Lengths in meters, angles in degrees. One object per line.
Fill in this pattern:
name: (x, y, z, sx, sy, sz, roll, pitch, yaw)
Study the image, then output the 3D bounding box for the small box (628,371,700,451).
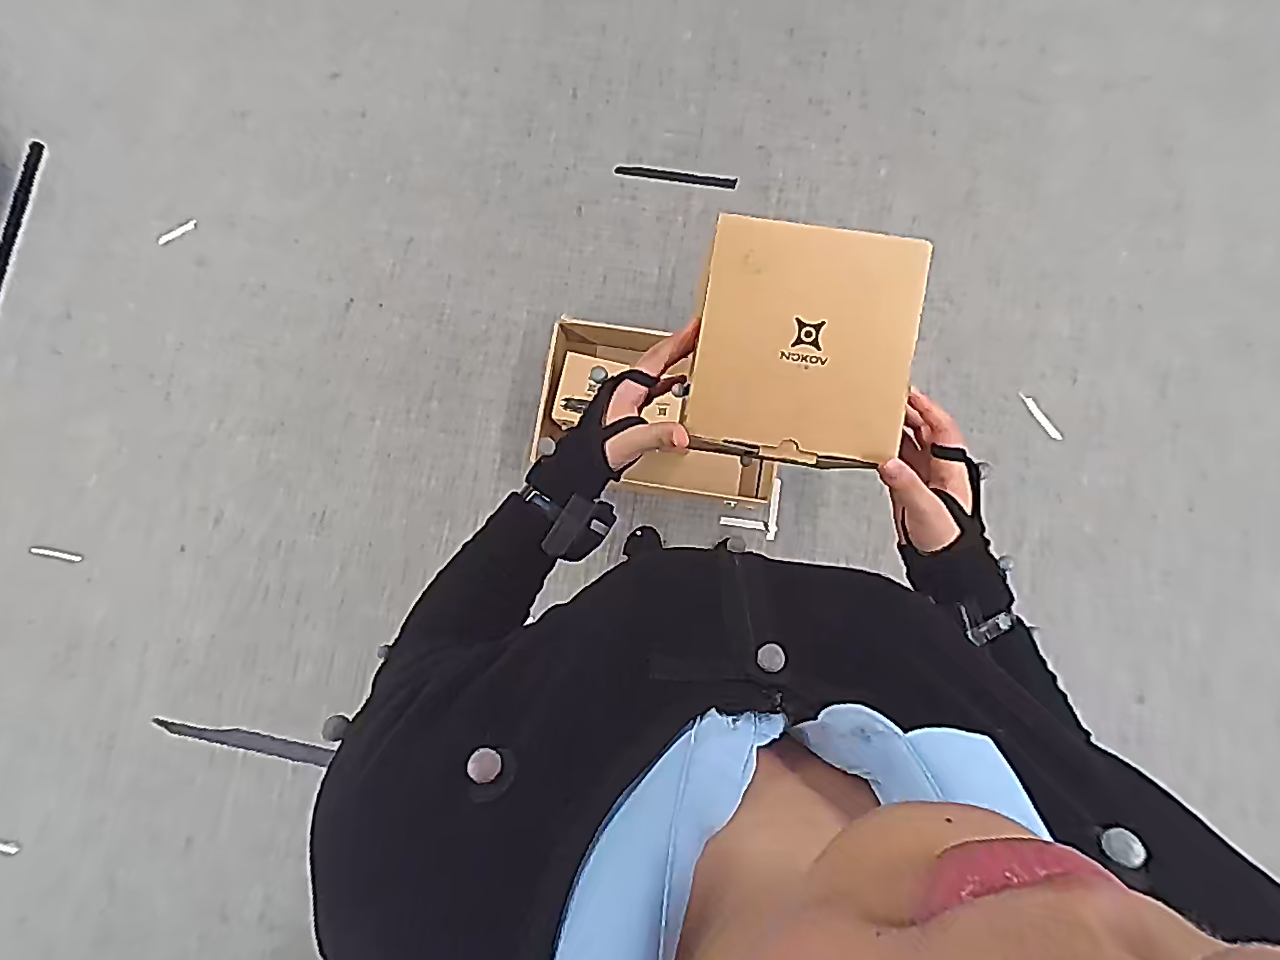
small box: (0.064, -0.174, 1.418, 0.168, 0.176, 0.179, 5, 85, 2)
